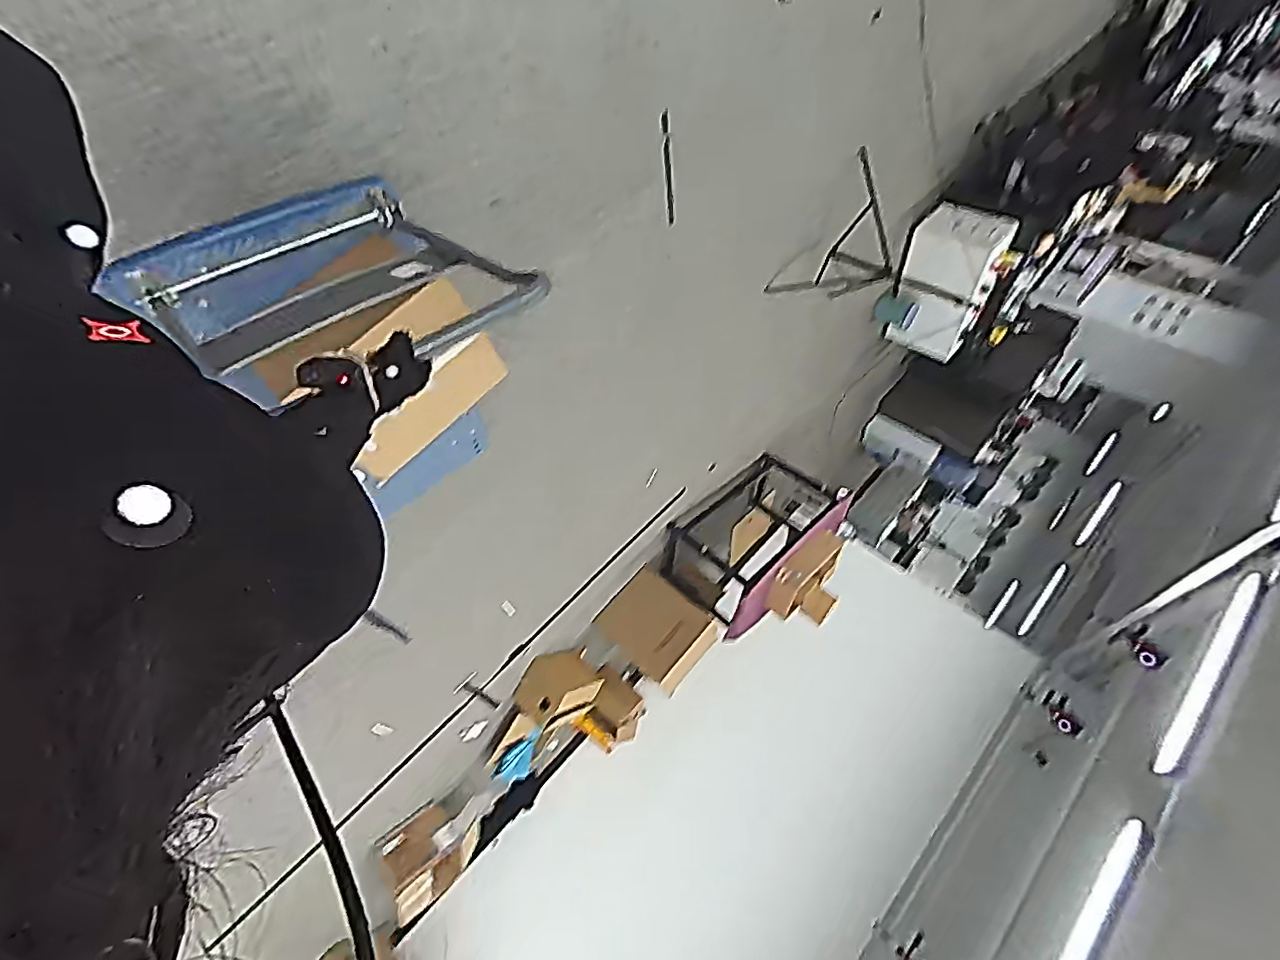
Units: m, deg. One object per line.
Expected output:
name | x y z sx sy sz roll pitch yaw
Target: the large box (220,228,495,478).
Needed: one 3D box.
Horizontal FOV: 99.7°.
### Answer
large box | -0.626 -0.294 1.243 0.408 0.320 0.320 -45 149 -14
